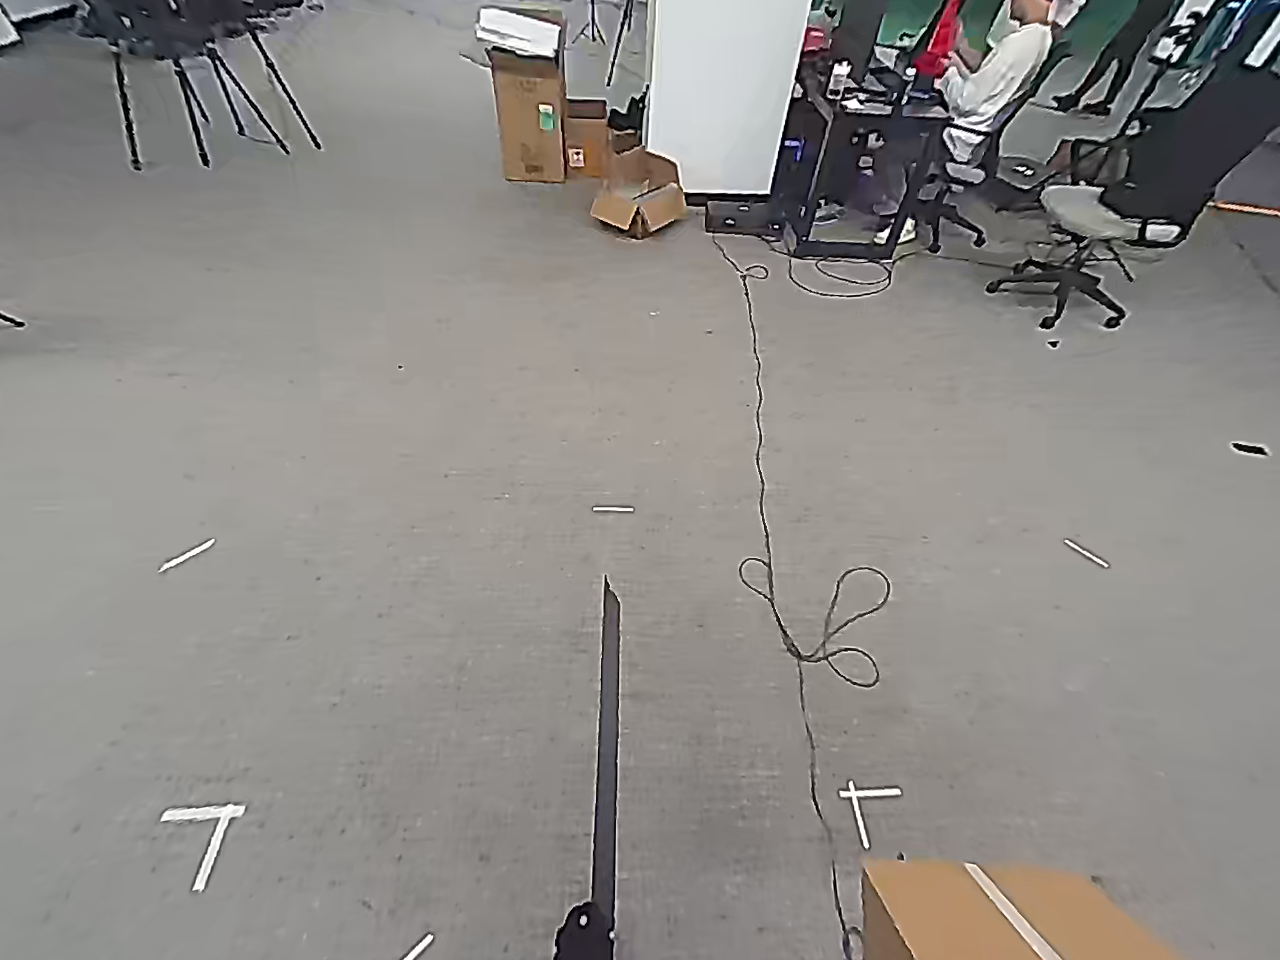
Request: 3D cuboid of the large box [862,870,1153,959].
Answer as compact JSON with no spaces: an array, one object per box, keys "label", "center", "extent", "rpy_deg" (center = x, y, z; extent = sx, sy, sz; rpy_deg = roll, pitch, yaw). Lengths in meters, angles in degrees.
[{"label":"large box","center":[0.465,0.721,0.590],"extent":[0.320,0.408,0.320],"rpy_deg":[2,85,3]}]
